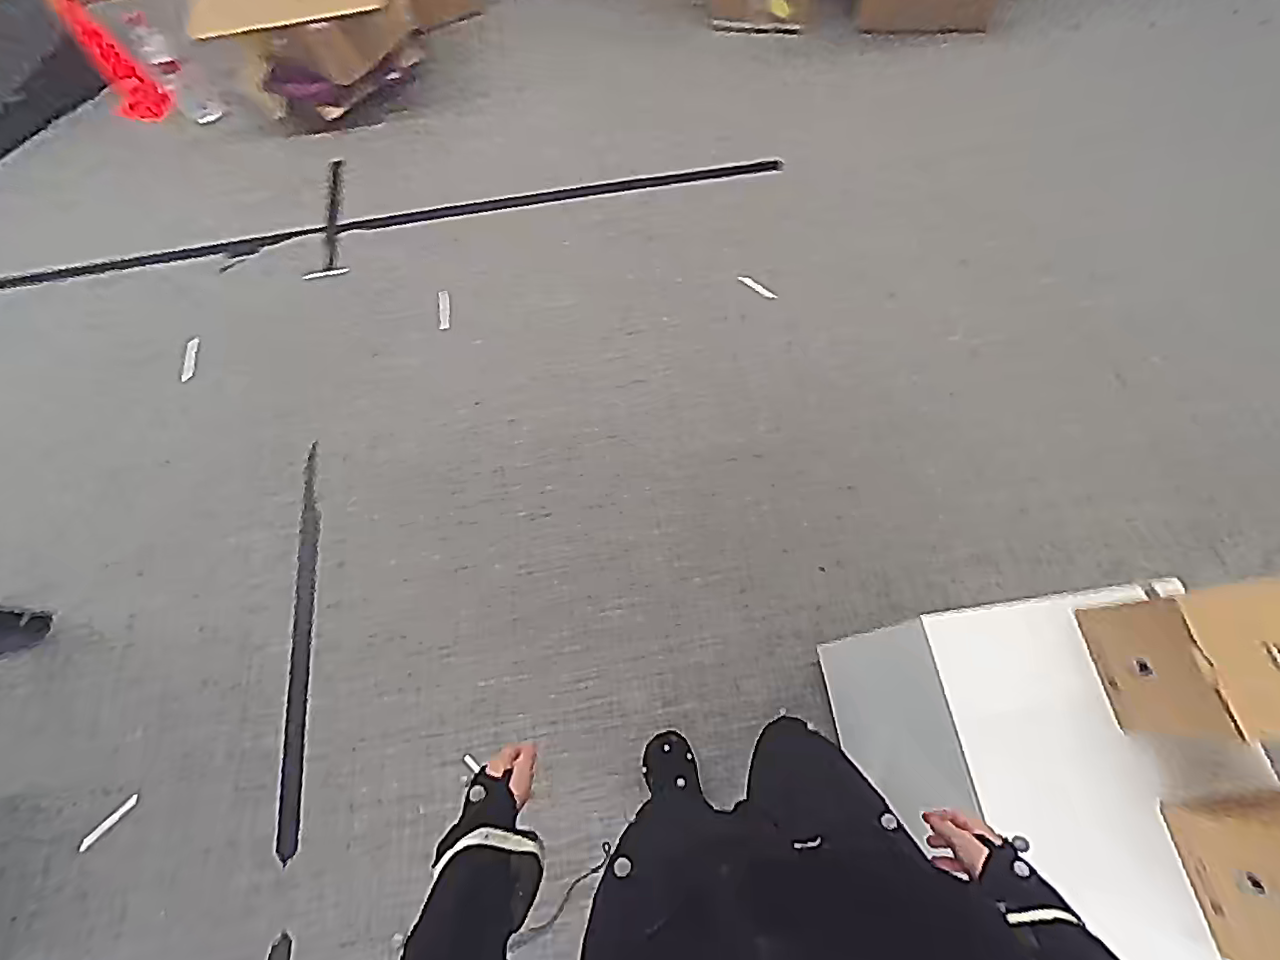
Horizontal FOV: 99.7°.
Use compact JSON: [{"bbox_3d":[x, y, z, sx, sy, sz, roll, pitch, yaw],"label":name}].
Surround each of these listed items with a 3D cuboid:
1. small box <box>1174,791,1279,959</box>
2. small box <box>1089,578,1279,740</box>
[{"bbox_3d":[0.763,0.458,0.599,0.179,0.176,0.168,-7,69,-1],"label":"small box"},{"bbox_3d":[0.727,0.226,0.687,0.179,0.176,0.168,-8,70,1],"label":"small box"}]
